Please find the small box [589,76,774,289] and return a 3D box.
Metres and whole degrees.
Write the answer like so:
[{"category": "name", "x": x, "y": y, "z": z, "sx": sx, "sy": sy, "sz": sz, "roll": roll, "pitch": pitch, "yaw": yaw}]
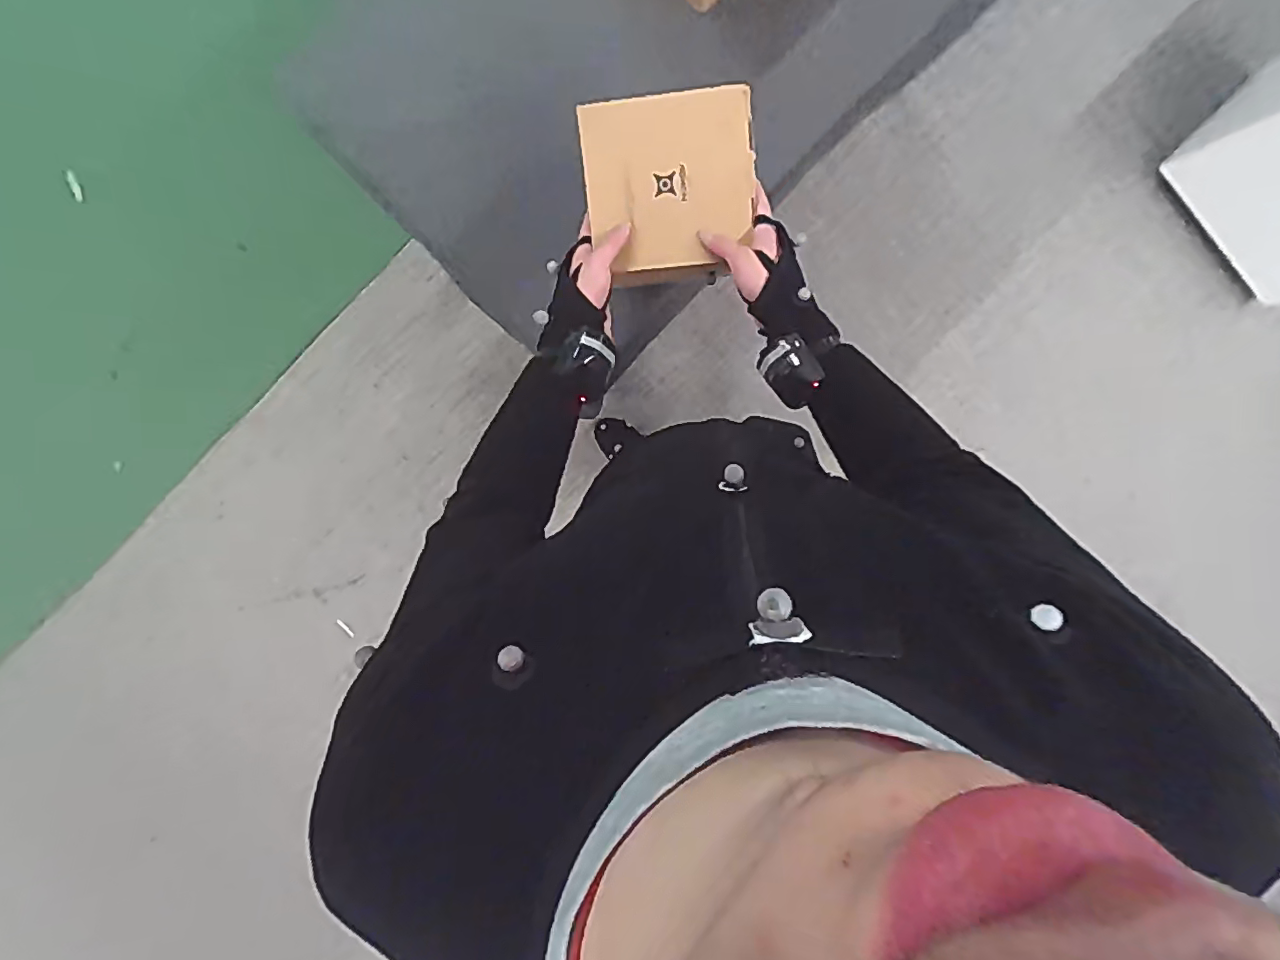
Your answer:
[{"category": "small box", "x": 0.046, "y": -0.319, "z": 0.615, "sx": 0.179, "sy": 0.176, "sz": 0.168, "roll": -6, "pitch": 103, "yaw": 4}]
